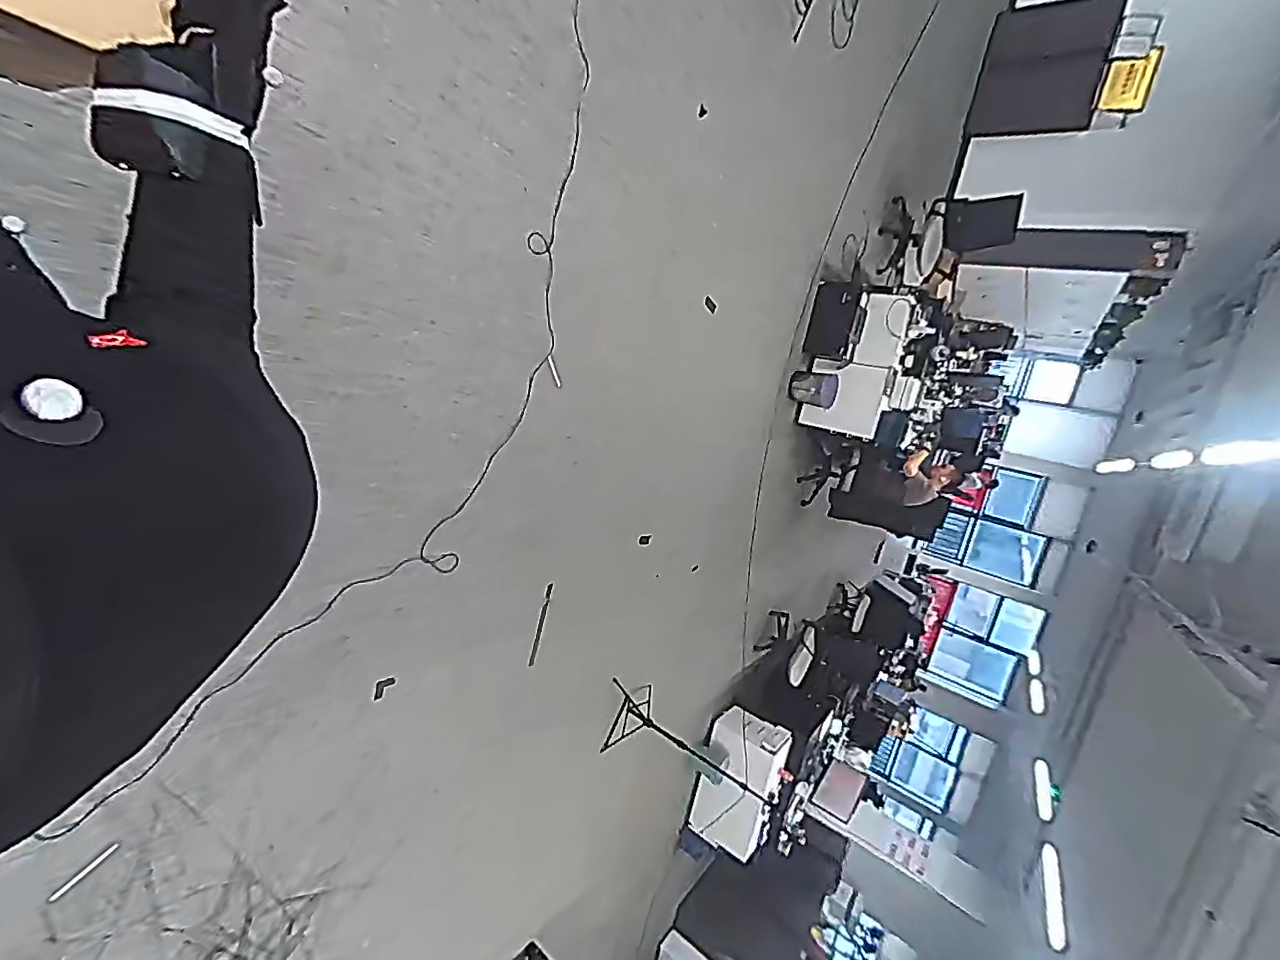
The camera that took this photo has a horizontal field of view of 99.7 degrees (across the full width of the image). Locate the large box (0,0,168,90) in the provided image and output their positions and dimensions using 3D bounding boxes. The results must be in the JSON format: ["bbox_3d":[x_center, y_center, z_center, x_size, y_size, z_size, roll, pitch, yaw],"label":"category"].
[{"bbox_3d":[-0.519,-0.444,0.240,0.408,0.320,0.320,-8,117,-58],"label":"large box"}]
